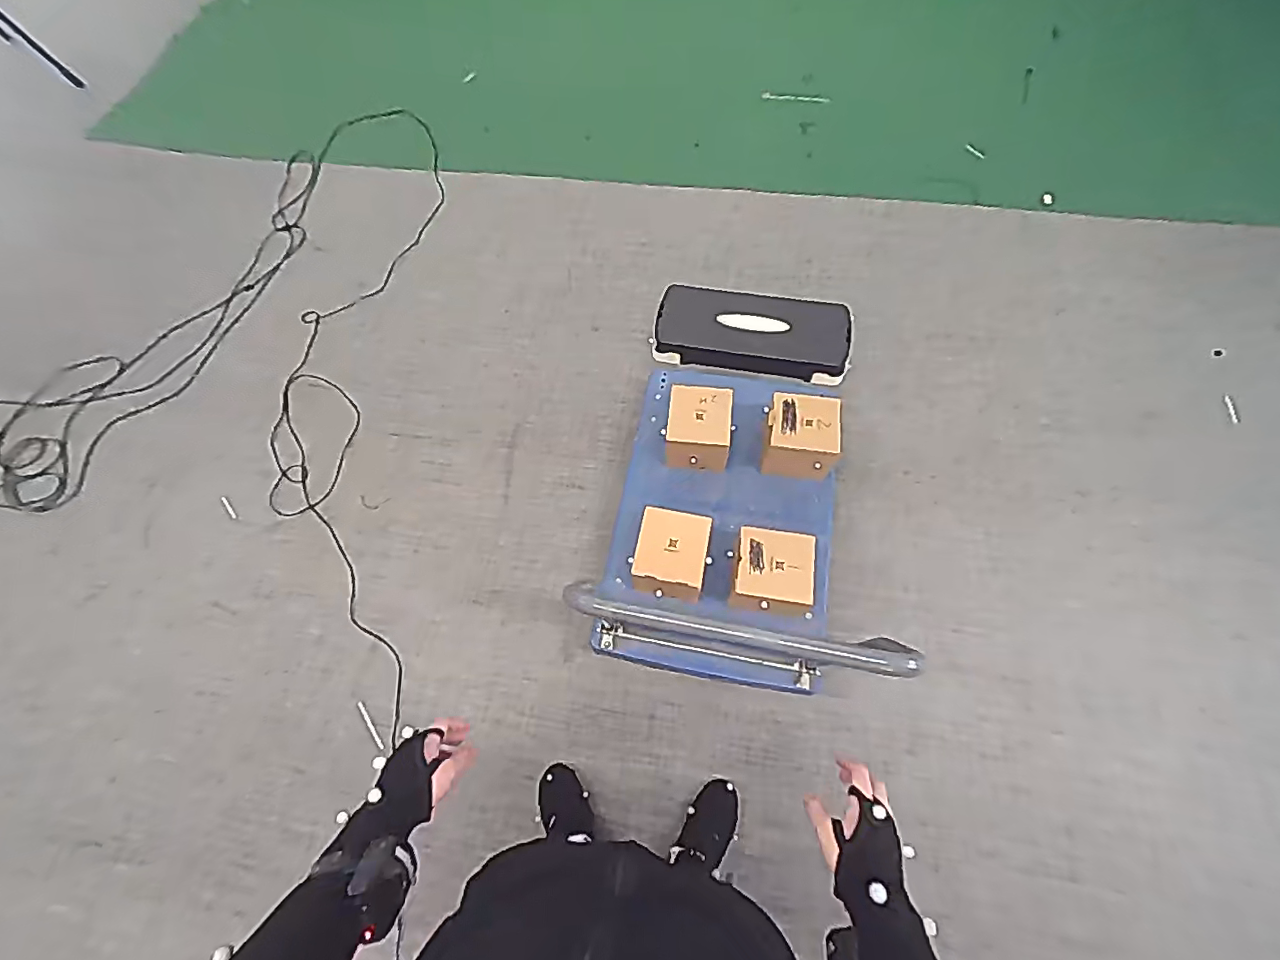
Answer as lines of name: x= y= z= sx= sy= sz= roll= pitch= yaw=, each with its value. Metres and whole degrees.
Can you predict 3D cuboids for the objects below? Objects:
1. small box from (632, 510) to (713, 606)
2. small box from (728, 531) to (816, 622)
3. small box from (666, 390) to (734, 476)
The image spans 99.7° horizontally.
small box: x=0.079 y=0.199 z=1.345 sx=0.168 sy=0.176 sz=0.179 roll=11 pitch=66 yaw=6
small box: x=0.316 y=0.239 z=1.315 sx=0.179 sy=0.176 sz=0.168 roll=9 pitch=66 yaw=5
small box: x=0.163 y=-0.125 z=1.492 sx=0.168 sy=0.176 sz=0.179 roll=6 pitch=65 yaw=5
